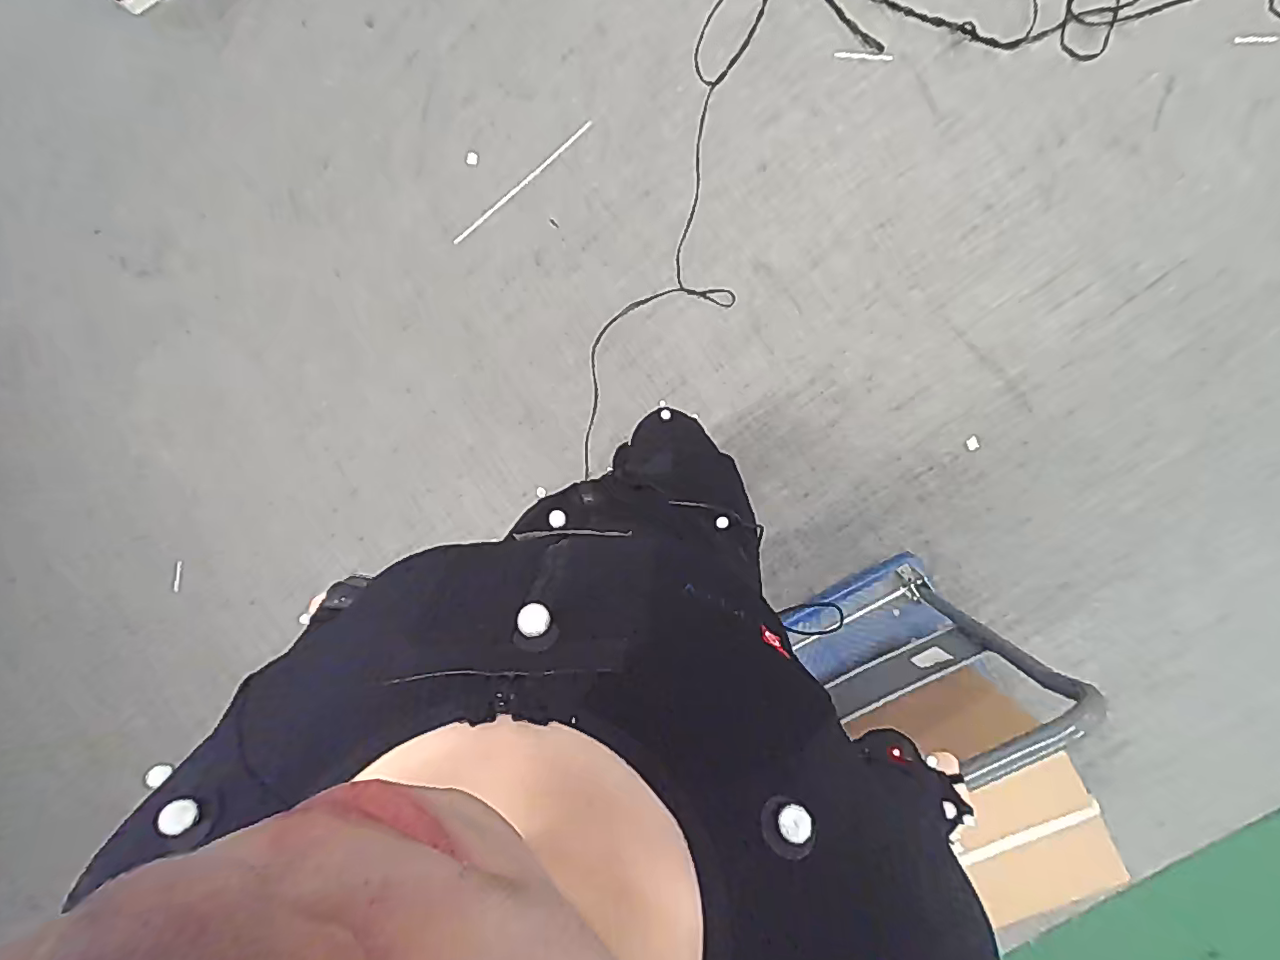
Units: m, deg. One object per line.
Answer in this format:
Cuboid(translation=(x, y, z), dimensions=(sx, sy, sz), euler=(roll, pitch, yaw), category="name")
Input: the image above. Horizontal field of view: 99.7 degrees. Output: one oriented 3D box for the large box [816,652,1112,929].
Cuboid(translation=(0.663, 0.648, 1.182), dimensions=(0.408, 0.320, 0.320), euler=(-28, 91, 8), category="large box")
